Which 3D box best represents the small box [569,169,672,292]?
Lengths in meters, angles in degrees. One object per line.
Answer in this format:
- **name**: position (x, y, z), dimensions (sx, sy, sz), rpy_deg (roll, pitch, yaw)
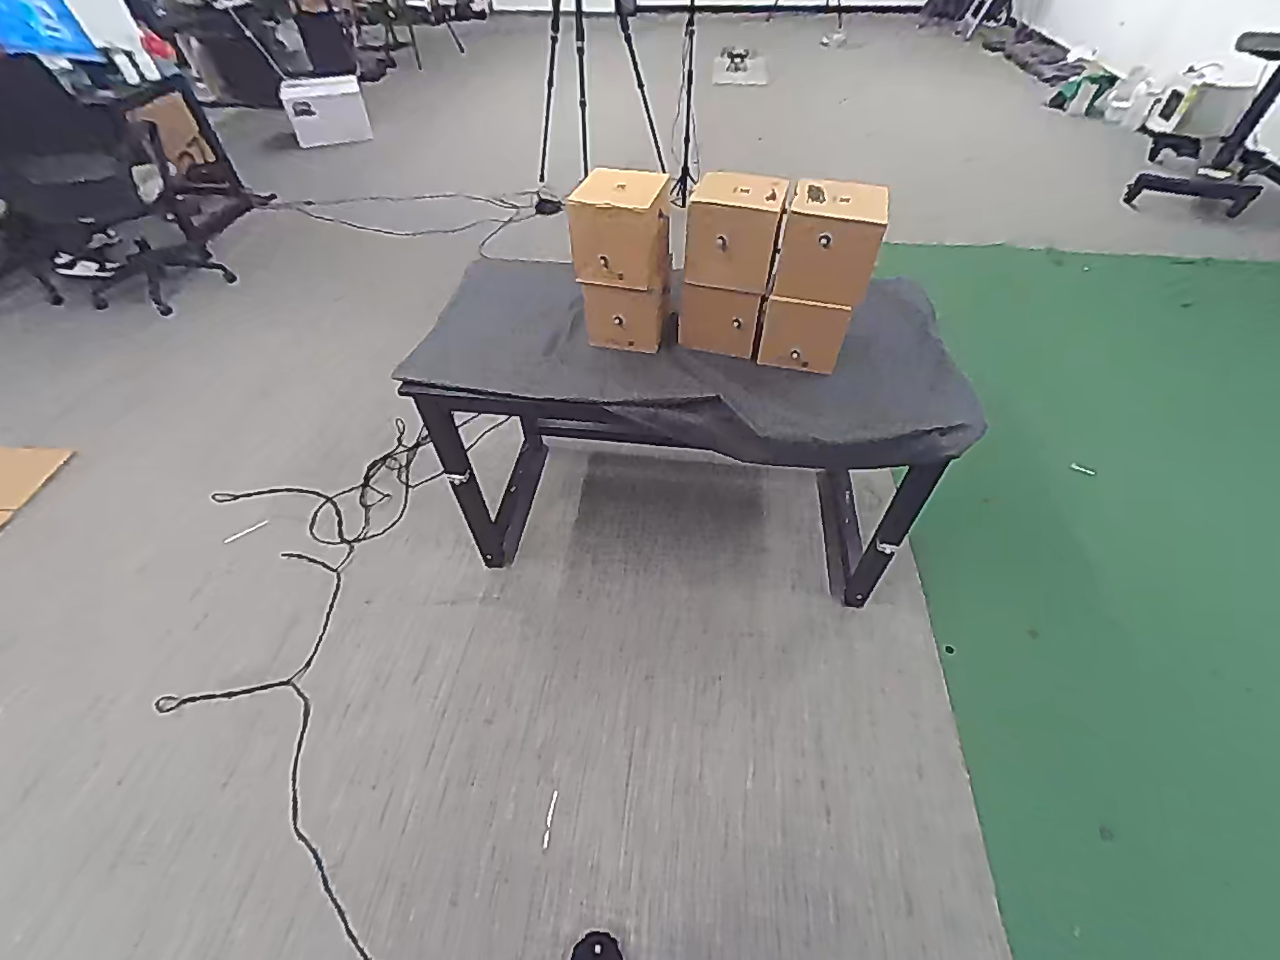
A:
- **small box**: position (-0.036, -0.524, 1.137), dimensions (0.168, 0.176, 0.179), rpy_deg (12, 52, 12)
